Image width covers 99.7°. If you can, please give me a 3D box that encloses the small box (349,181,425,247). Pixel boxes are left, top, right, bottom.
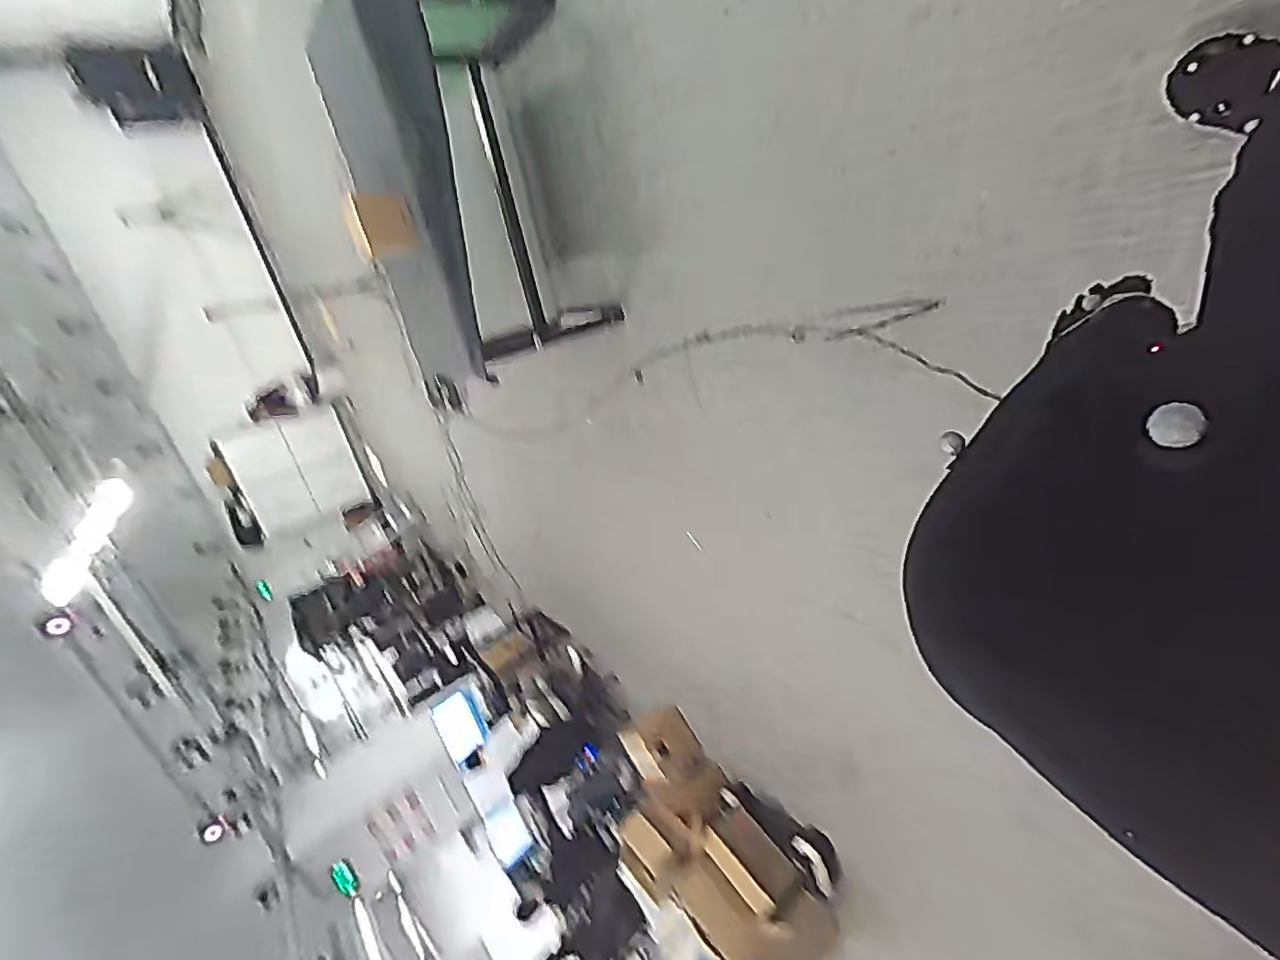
[{"bbox_3d":[-0.864,-0.913,1.851,0.168,0.176,0.179,19,127,51],"label":"small box"}]
